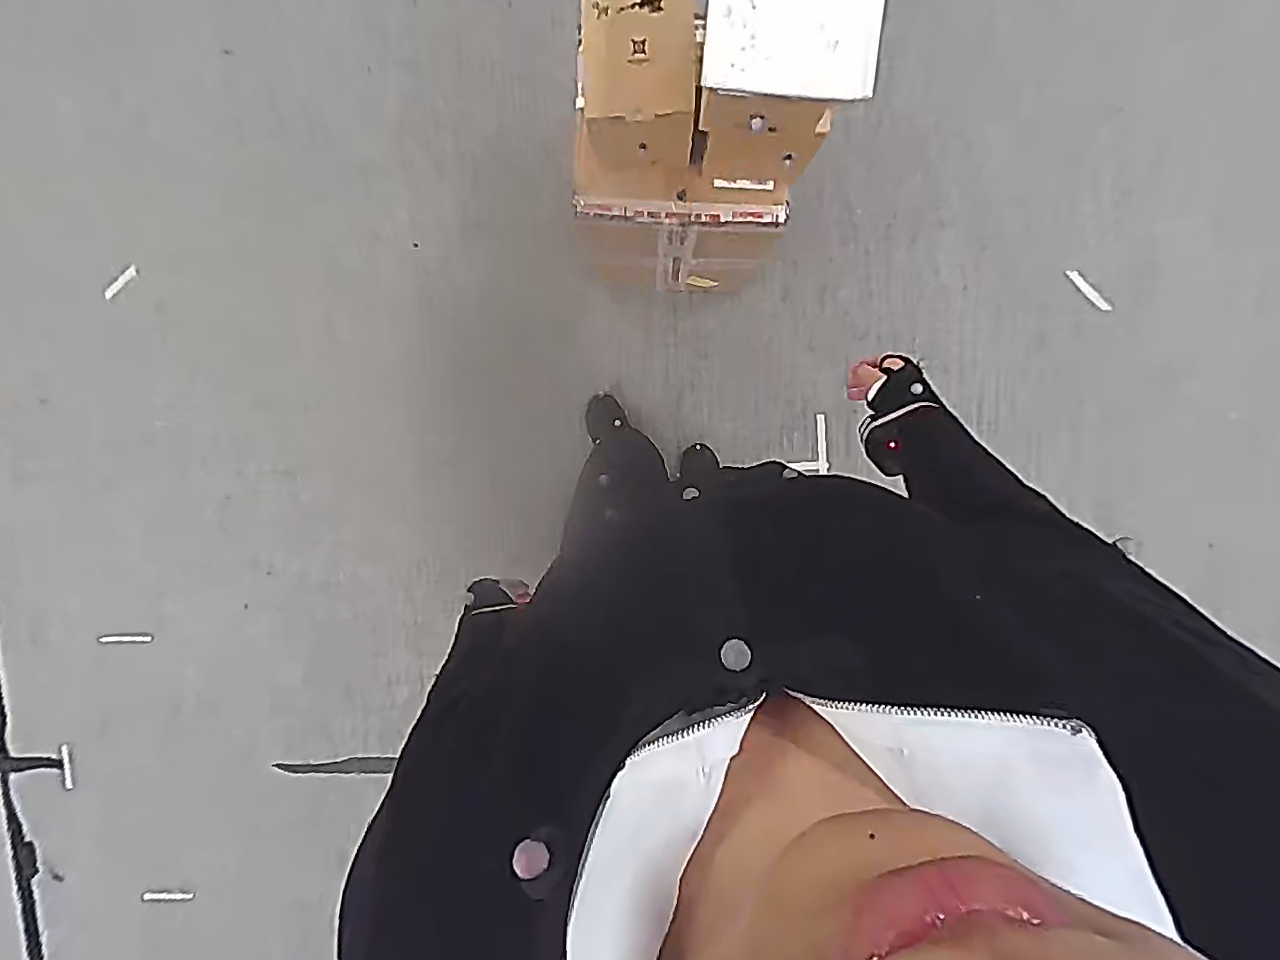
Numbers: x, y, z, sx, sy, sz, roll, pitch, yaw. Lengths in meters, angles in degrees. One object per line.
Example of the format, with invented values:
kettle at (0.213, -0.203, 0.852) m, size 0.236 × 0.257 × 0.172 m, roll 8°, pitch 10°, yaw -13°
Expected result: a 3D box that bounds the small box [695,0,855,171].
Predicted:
small box at (0.169, -0.550, 0.724) m, size 0.168 × 0.176 × 0.179 m, roll 5°, pitch 97°, yaw -1°
